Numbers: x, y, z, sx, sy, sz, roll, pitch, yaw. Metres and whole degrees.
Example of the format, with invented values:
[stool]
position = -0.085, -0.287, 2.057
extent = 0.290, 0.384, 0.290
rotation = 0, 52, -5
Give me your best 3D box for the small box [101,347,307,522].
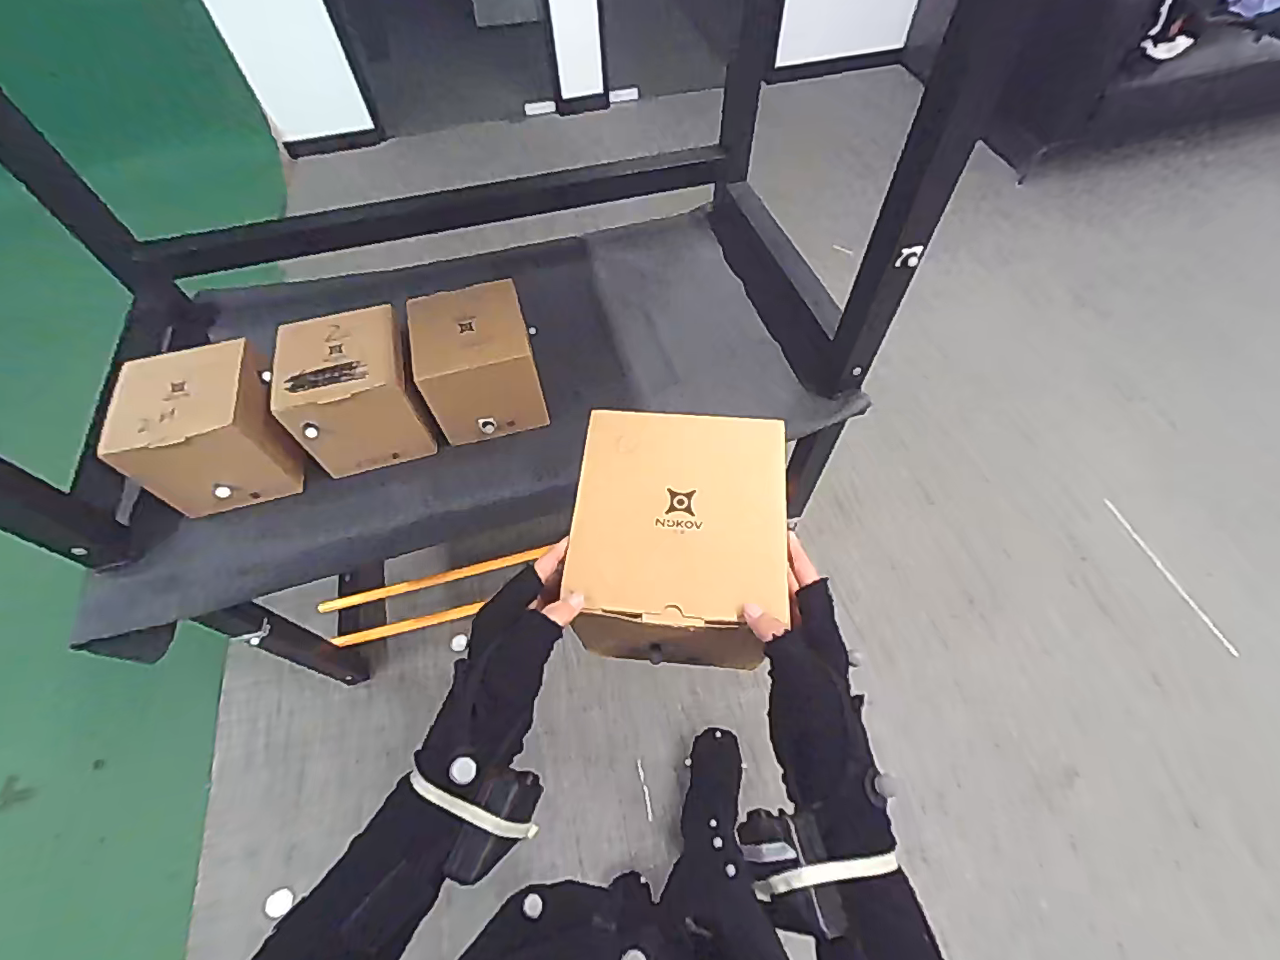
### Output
[small box]
position = -0.624, -0.064, 0.804
extent = 0.168, 0.176, 0.179
rotation = -15, 58, -8
